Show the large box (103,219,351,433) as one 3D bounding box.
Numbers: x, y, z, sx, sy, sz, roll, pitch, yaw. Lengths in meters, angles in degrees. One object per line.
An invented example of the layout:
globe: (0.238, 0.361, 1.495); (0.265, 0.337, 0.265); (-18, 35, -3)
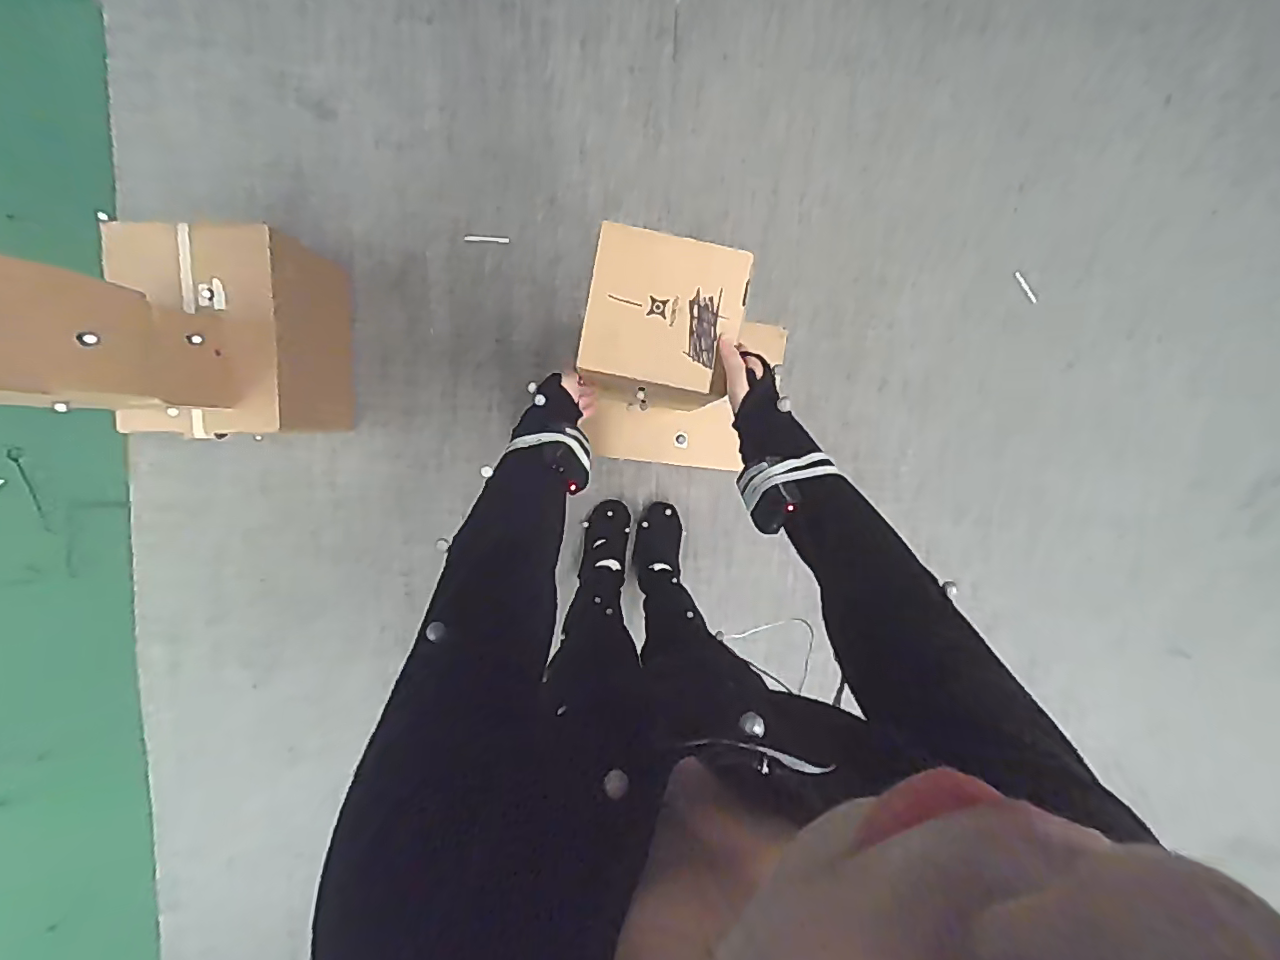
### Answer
large box: (-0.874, -0.310, 1.197); (0.320, 0.320, 0.408); (0, 95, -3)

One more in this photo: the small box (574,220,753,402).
small box: (0.022, -0.197, 0.684); (0.179, 0.176, 0.168); (11, 93, -3)

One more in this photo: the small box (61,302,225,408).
small box: (-0.879, -0.217, 0.960); (0.179, 0.176, 0.168); (-1, 95, -2)

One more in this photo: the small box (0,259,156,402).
small box: (-0.869, -0.208, 0.797); (0.168, 0.176, 0.179); (-5, 95, -3)

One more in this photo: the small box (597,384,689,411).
small box: (0.012, -0.227, 1.012); (0.168, 0.176, 0.179); (7, 93, -4)

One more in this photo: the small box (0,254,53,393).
small box: (-0.858, -0.191, 0.633); (0.168, 0.176, 0.179); (-3, 96, -3)
